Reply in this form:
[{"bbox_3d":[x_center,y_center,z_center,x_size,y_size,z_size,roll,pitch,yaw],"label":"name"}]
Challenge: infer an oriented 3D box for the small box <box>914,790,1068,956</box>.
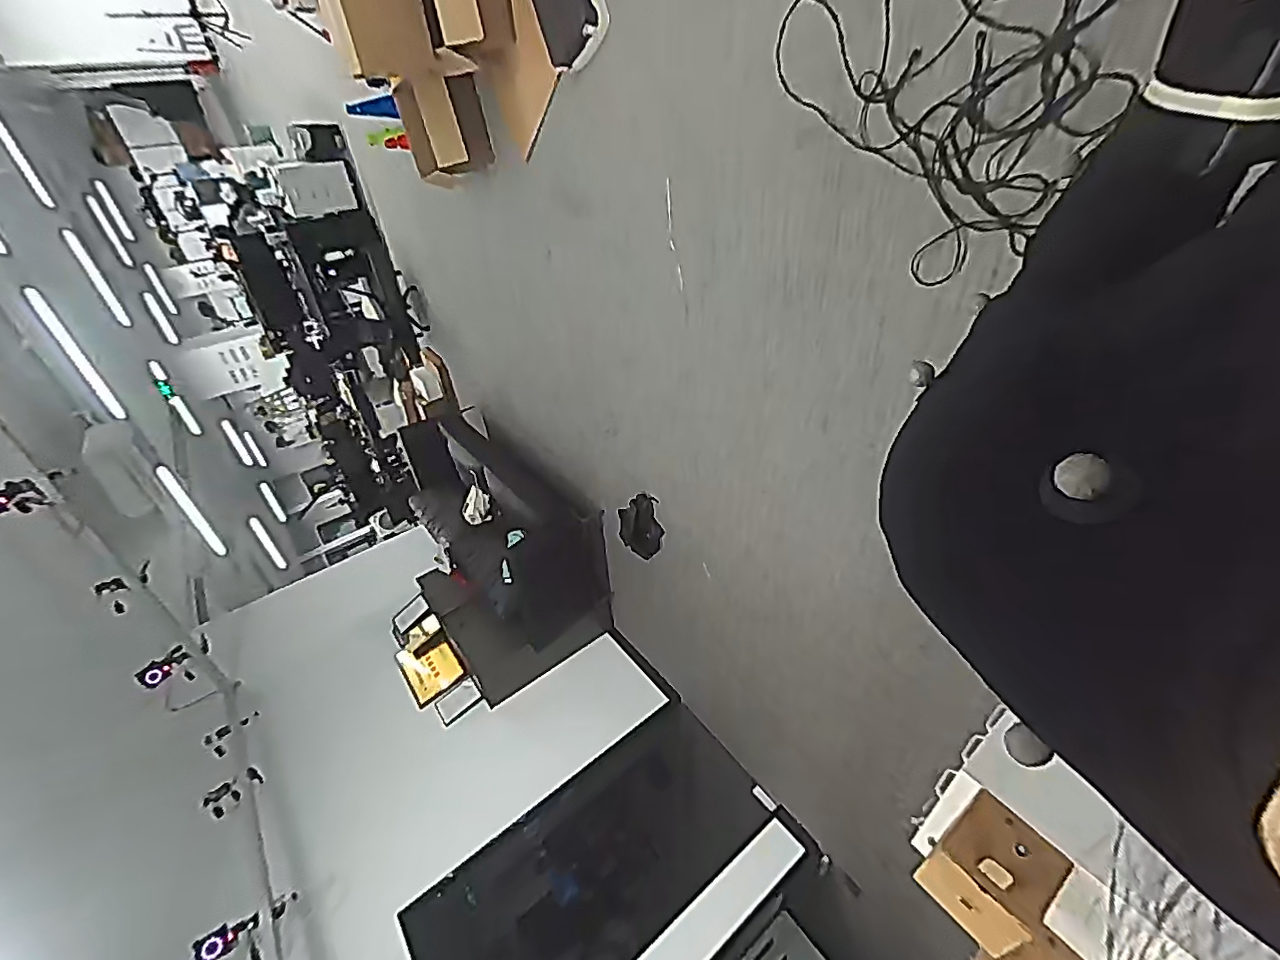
[{"bbox_3d":[0.663,0.739,1.027,0.168,0.176,0.179,38,144,40],"label":"small box"}]
